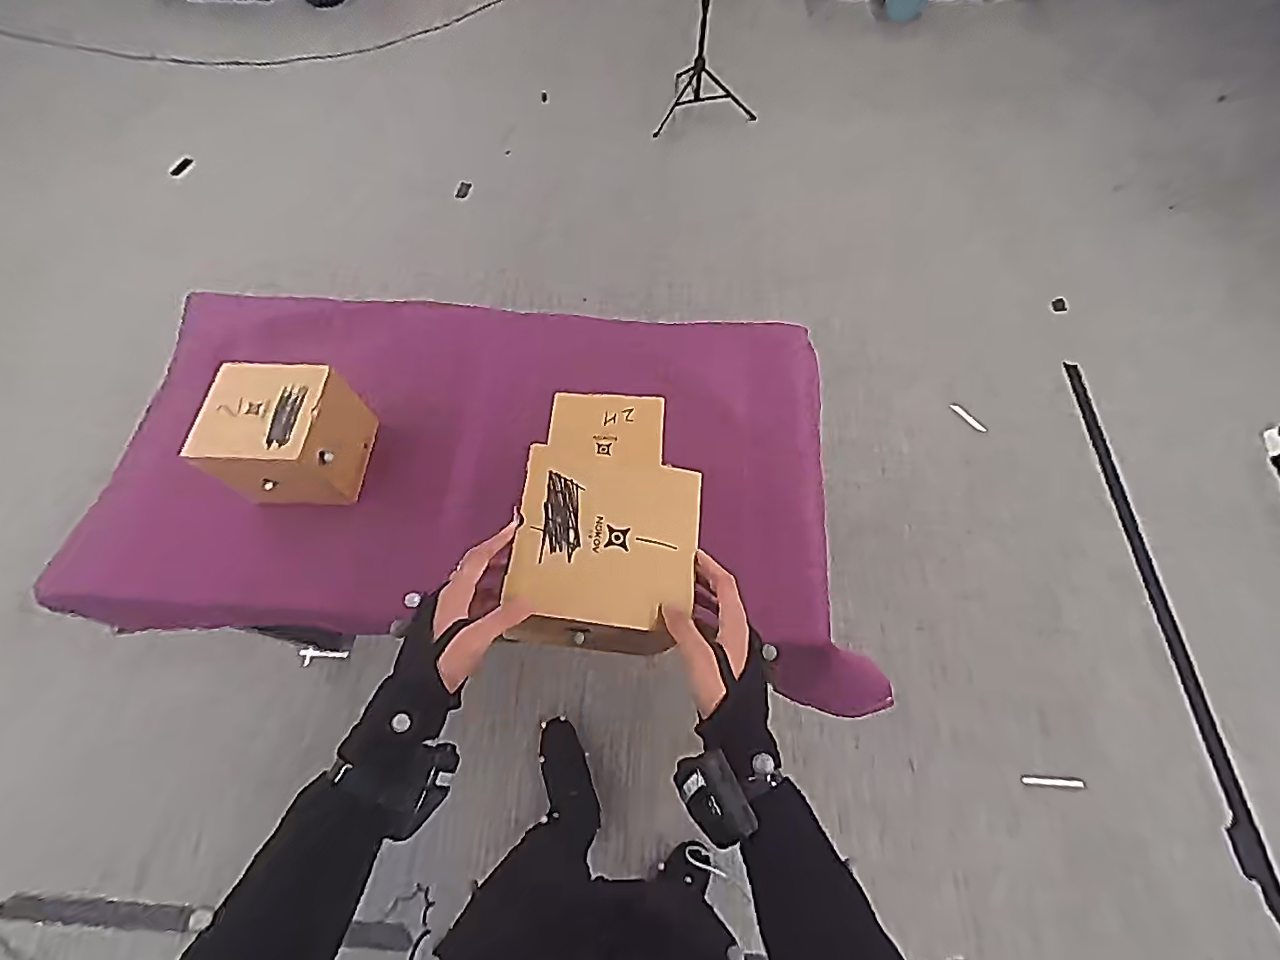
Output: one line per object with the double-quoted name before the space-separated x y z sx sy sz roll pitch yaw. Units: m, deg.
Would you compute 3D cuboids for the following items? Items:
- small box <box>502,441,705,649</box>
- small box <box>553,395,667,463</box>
"small box" -0.042 0.081 0.582 0.179 0.176 0.168 11 65 -8
"small box" -0.045 -0.011 0.848 0.168 0.176 0.179 3 64 1
